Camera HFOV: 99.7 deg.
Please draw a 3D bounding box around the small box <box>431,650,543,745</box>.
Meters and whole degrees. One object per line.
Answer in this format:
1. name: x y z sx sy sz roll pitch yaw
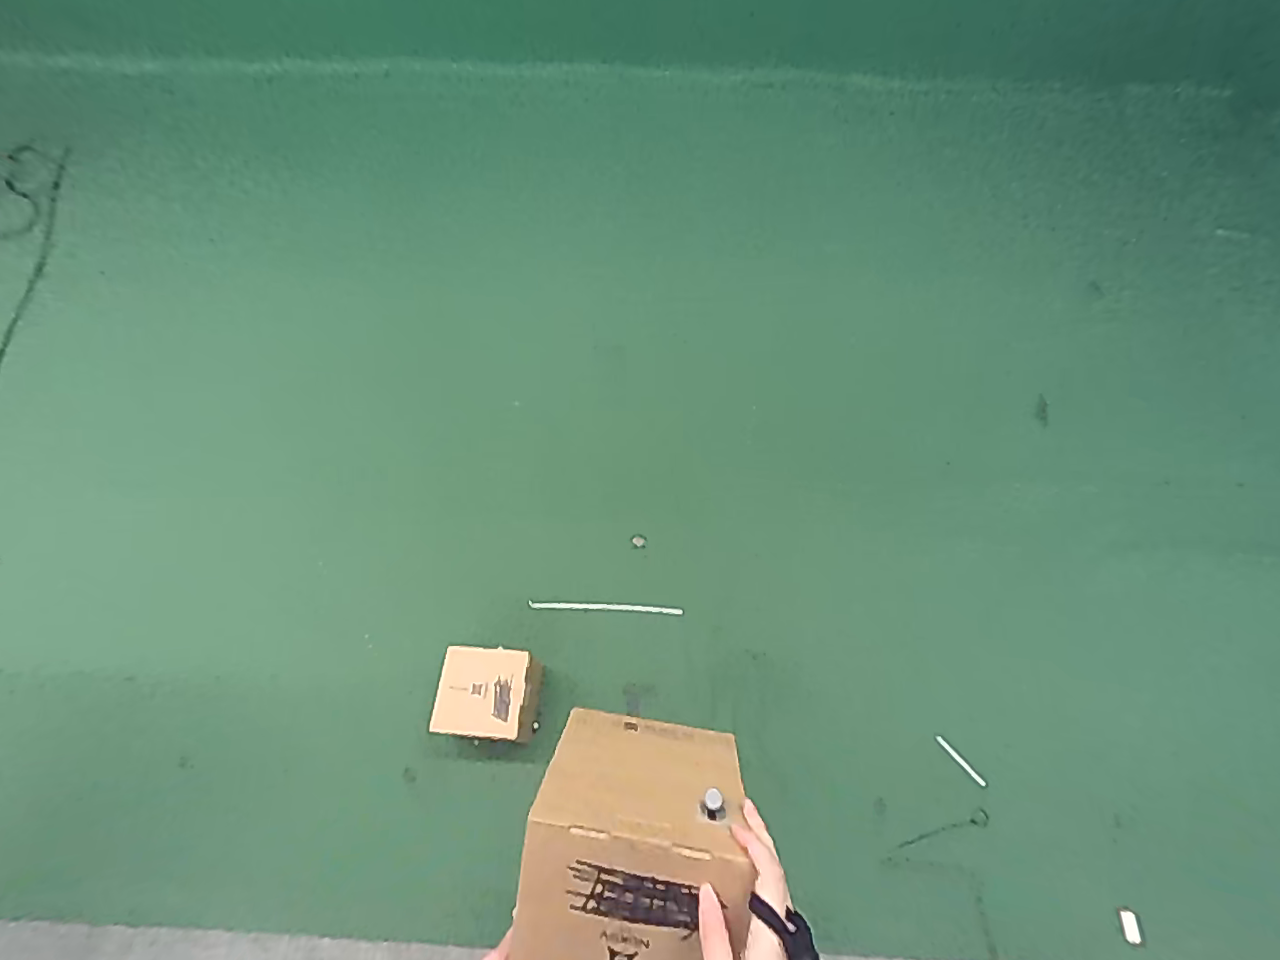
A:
1. small box: -0.313 0.467 1.153 0.179 0.176 0.168 3 62 4
